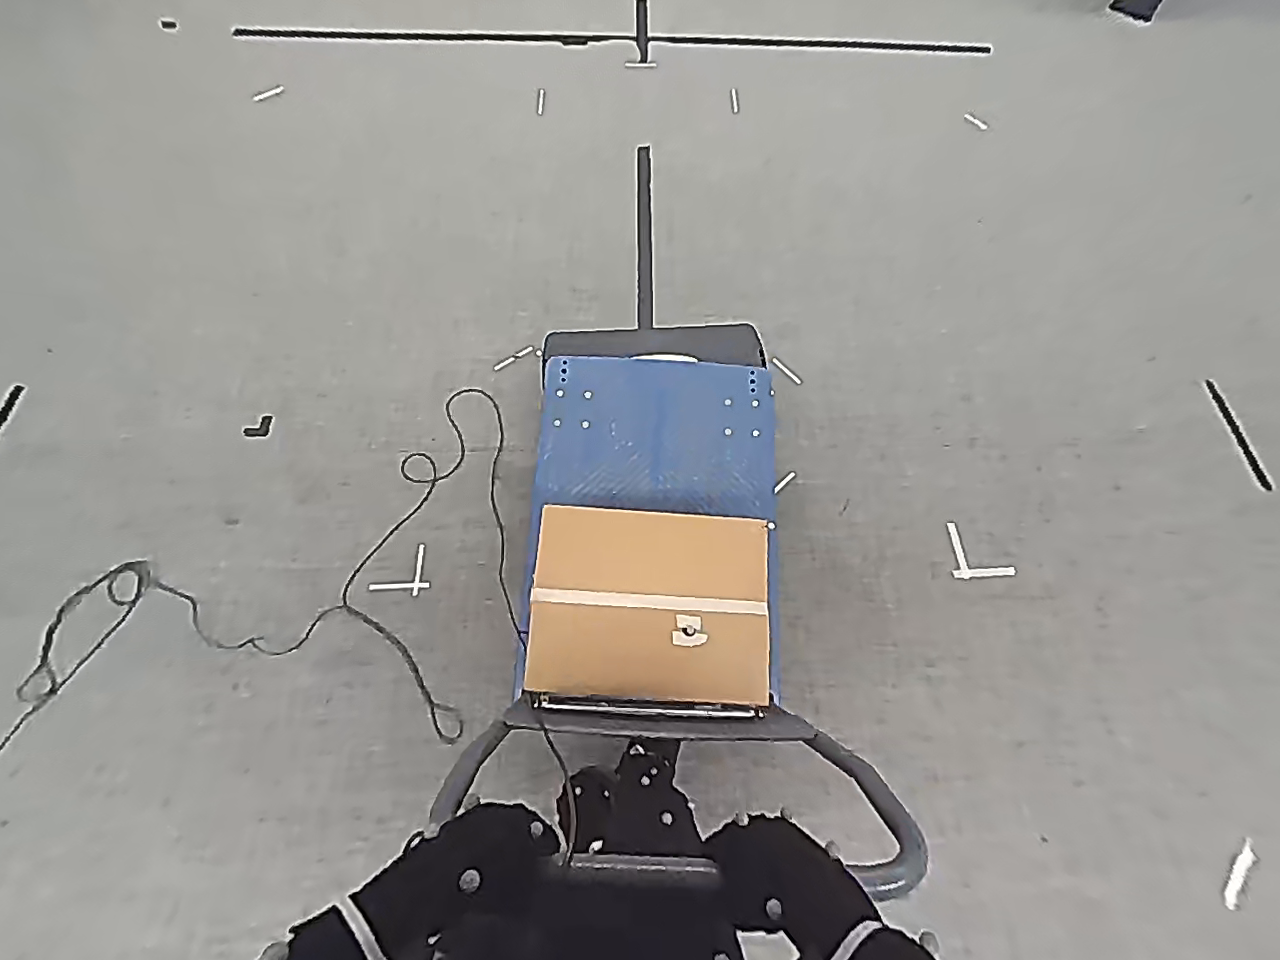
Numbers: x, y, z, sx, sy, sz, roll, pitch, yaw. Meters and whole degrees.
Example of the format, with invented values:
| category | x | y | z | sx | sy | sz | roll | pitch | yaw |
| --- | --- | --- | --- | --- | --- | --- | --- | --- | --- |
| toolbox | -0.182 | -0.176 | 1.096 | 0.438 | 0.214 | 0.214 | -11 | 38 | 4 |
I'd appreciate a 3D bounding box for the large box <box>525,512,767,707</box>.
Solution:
| category | x | y | z | sx | sy | sz | roll | pitch | yaw |
| --- | --- | --- | --- | --- | --- | --- | --- | --- | --- |
| large box | 0.008 | 0.257 | 1.061 | 0.408 | 0.320 | 0.320 | 4 | 74 | -2 |
